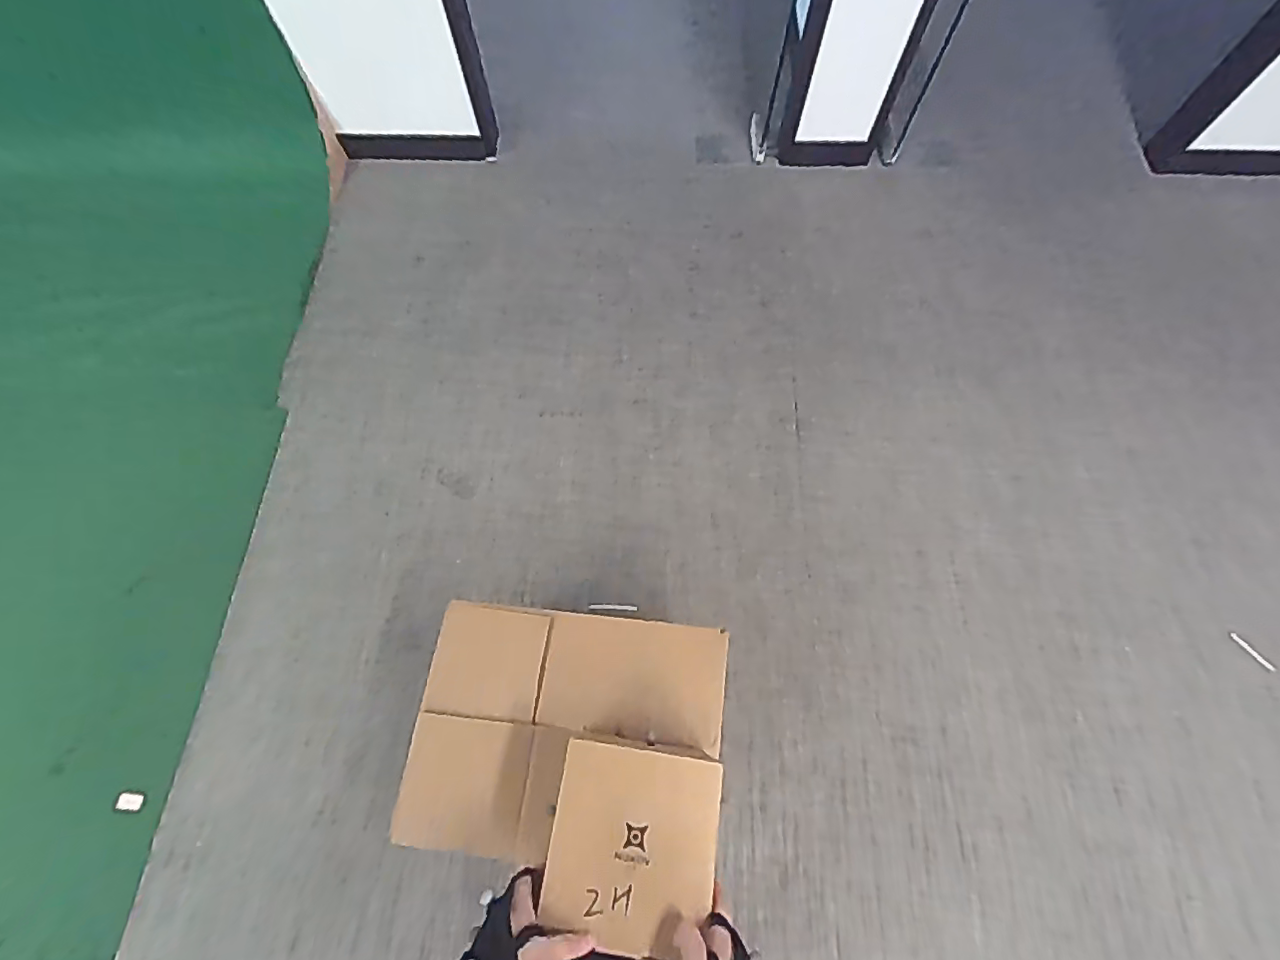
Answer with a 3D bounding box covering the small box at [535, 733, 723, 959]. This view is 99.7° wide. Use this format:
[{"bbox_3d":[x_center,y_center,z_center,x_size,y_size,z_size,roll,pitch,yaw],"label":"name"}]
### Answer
[{"bbox_3d":[-0.007,0.392,0.610,0.168,0.176,0.179,8,67,4],"label":"small box"}]
